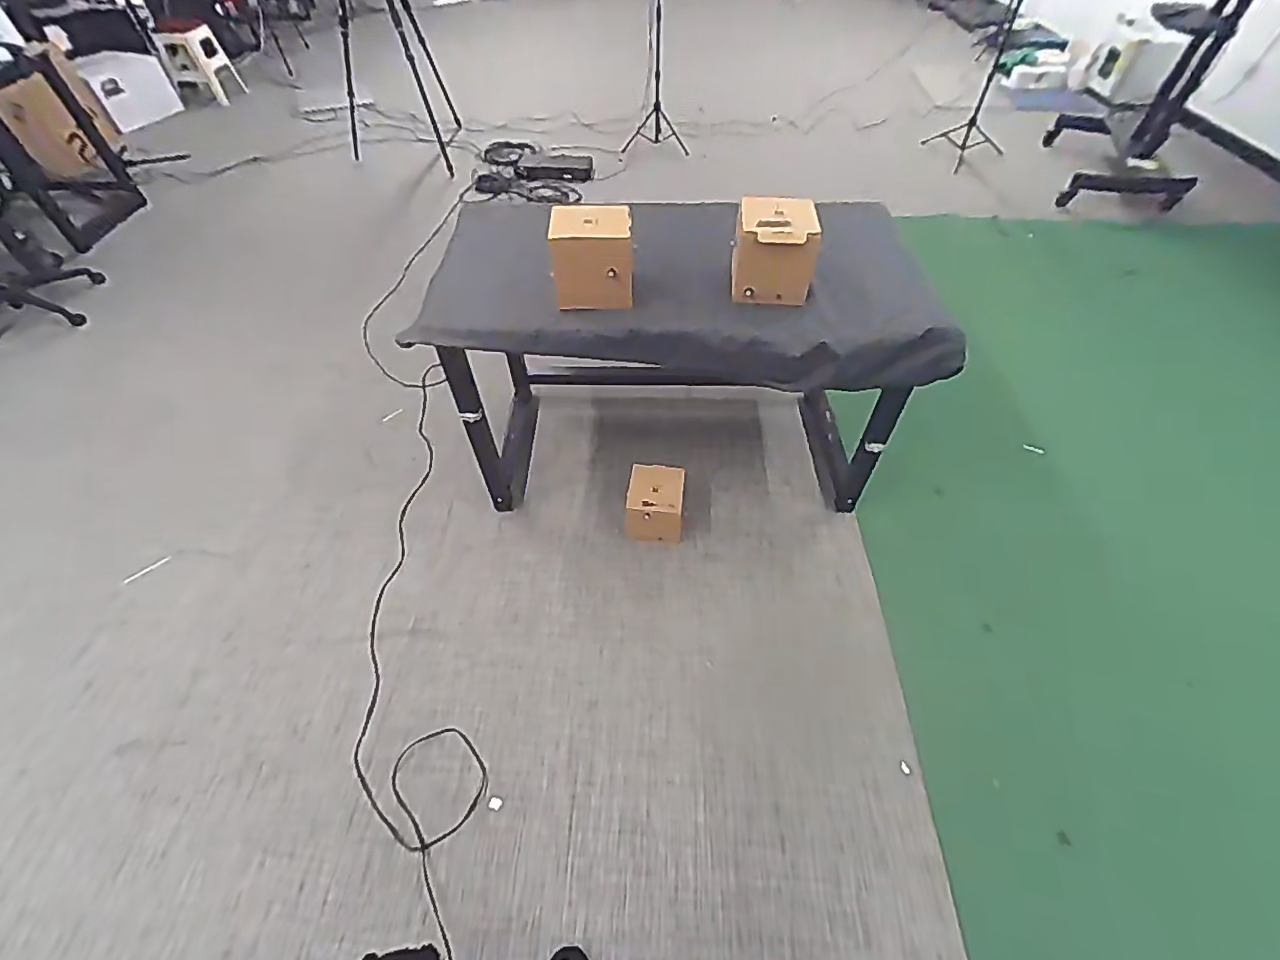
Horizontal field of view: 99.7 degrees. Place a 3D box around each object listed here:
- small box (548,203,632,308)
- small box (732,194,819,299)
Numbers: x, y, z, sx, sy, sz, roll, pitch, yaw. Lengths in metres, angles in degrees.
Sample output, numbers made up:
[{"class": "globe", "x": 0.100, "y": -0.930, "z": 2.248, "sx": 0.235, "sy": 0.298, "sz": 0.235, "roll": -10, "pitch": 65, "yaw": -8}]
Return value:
[{"class": "small box", "x": -0.107, "y": -0.511, "z": 1.236, "sx": 0.179, "sy": 0.176, "sz": 0.168, "roll": -3, "pitch": 49, "yaw": -1}, {"class": "small box", "x": 0.304, "y": -0.536, "z": 1.247, "sx": 0.168, "sy": 0.176, "sz": 0.179, "roll": 4, "pitch": 51, "yaw": 4}]
